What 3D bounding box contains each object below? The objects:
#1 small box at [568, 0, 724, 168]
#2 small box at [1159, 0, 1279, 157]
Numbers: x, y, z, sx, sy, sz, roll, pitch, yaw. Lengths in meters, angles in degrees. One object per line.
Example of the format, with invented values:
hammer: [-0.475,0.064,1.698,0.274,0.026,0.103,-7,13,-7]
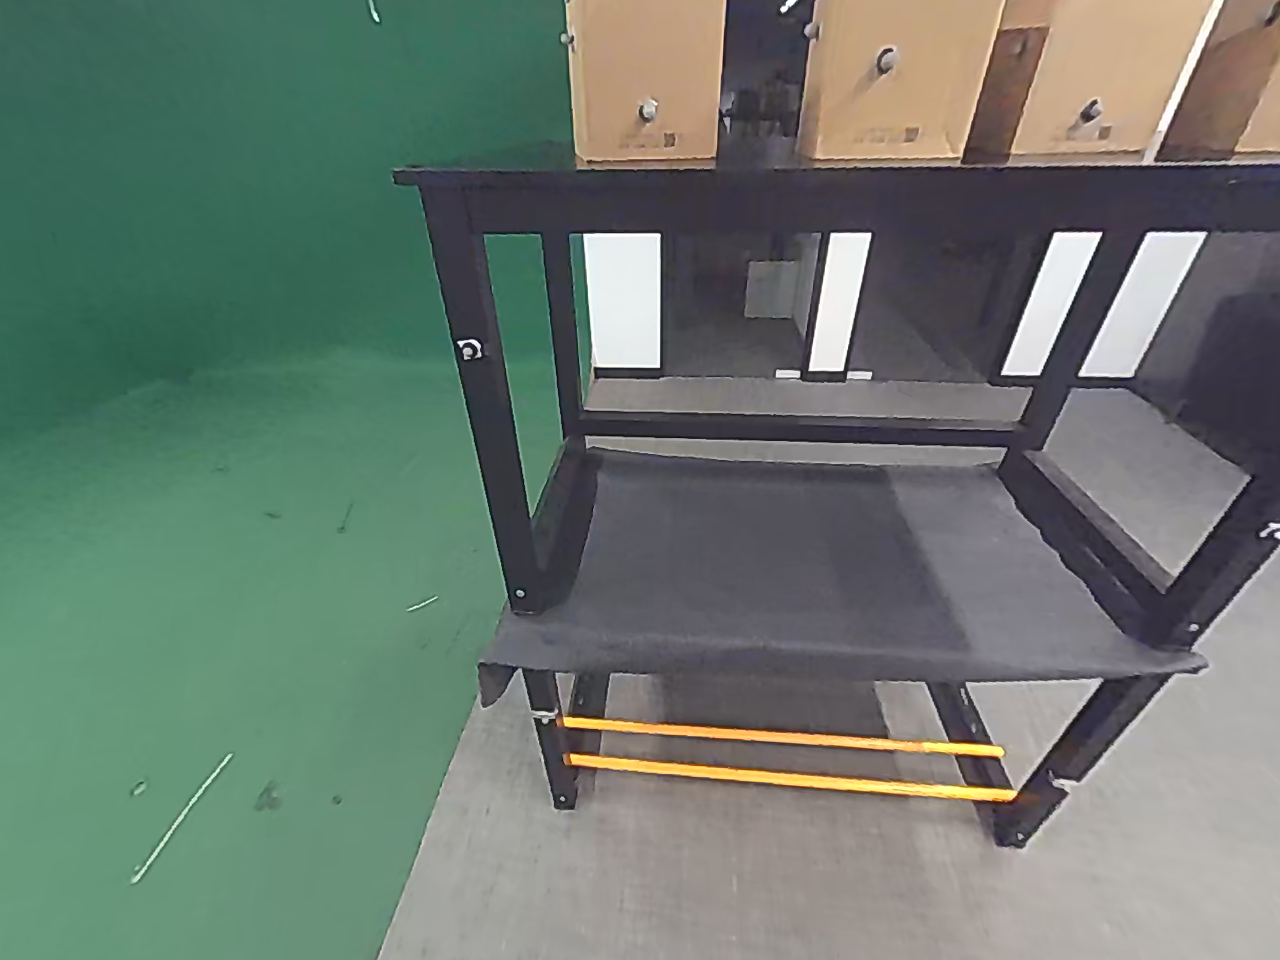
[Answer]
small box: [-0.002,-0.505,0.692,0.168,0.176,0.179,-6,36,-8]
small box: [0.760,-0.466,0.613,0.168,0.176,0.179,9,36,14]
